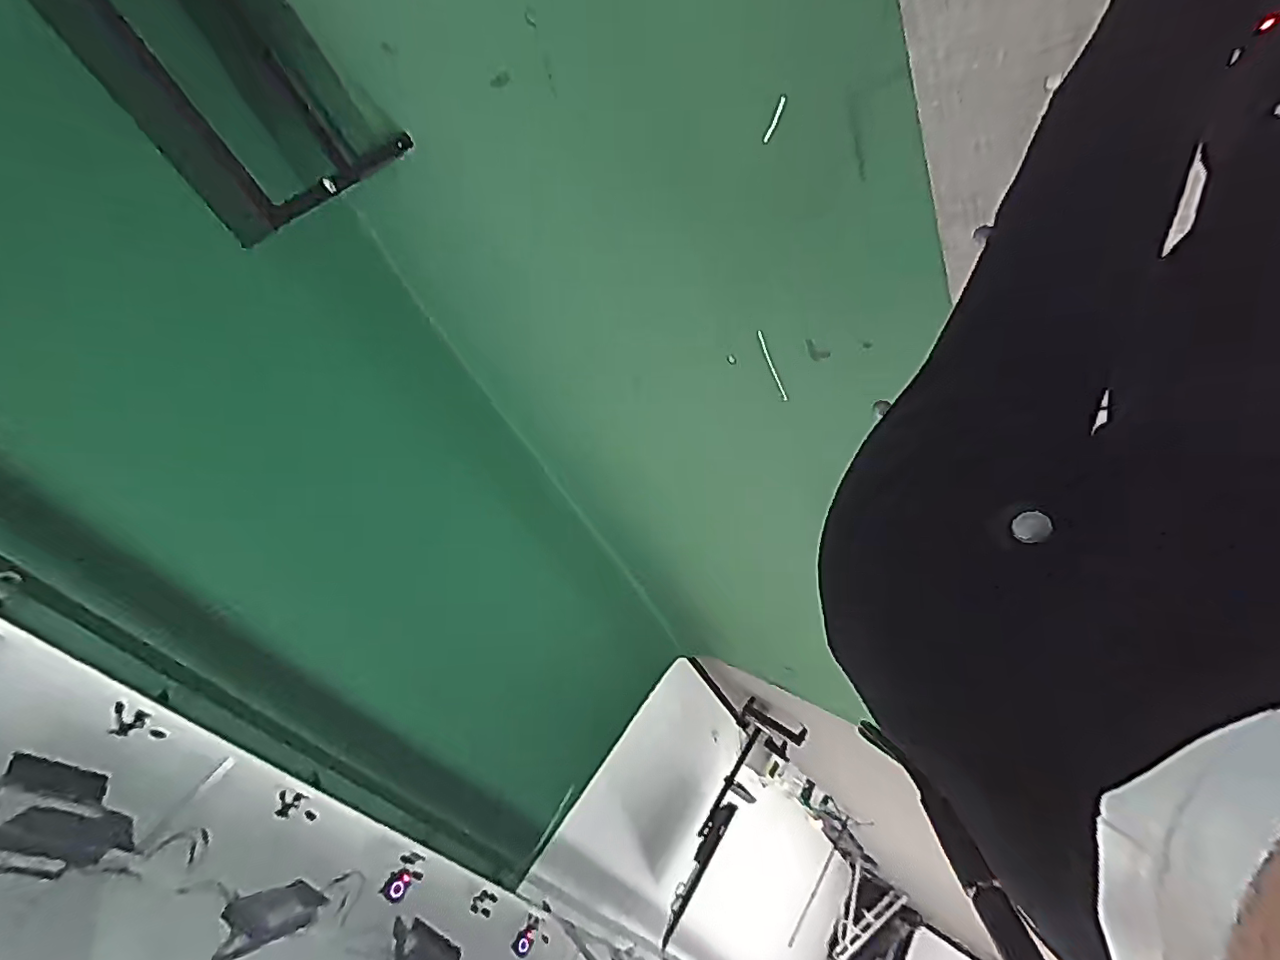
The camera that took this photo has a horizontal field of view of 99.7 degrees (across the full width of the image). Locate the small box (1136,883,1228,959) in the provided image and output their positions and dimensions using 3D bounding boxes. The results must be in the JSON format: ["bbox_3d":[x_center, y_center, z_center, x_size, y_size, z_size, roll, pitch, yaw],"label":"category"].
[{"bbox_3d":[1.545,1.309,1.543,0.168,0.176,0.179,9,140,49],"label":"small box"}]
